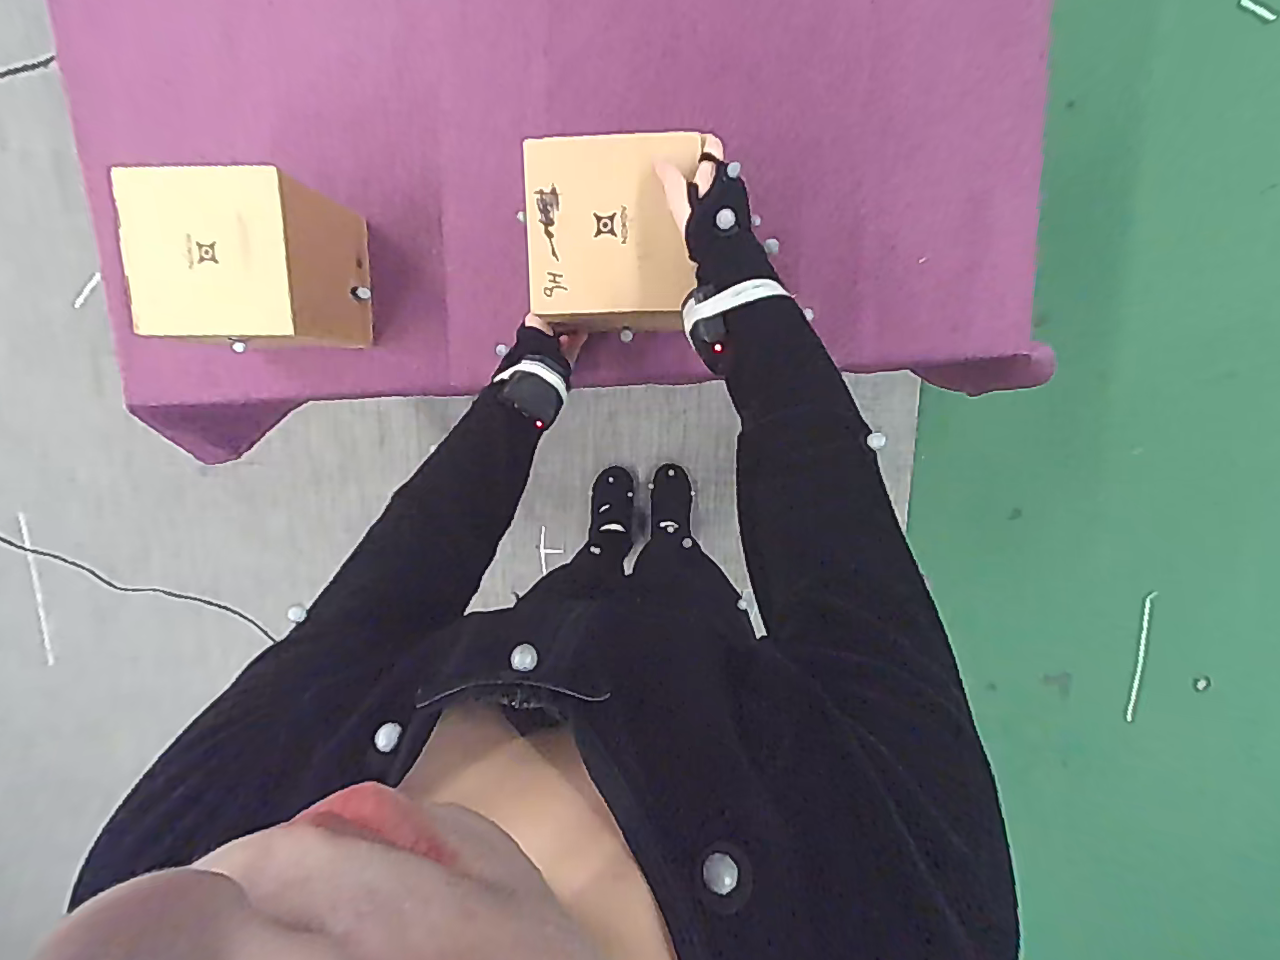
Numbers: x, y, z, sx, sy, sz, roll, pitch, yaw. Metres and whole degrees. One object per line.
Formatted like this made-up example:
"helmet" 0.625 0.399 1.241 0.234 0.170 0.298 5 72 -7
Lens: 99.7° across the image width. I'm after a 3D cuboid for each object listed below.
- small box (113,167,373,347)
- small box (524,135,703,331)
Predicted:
"small box" -0.443 -0.245 0.633 0.179 0.176 0.168 1 100 2
"small box" -0.023 -0.264 0.613 0.179 0.176 0.168 -1 99 2
